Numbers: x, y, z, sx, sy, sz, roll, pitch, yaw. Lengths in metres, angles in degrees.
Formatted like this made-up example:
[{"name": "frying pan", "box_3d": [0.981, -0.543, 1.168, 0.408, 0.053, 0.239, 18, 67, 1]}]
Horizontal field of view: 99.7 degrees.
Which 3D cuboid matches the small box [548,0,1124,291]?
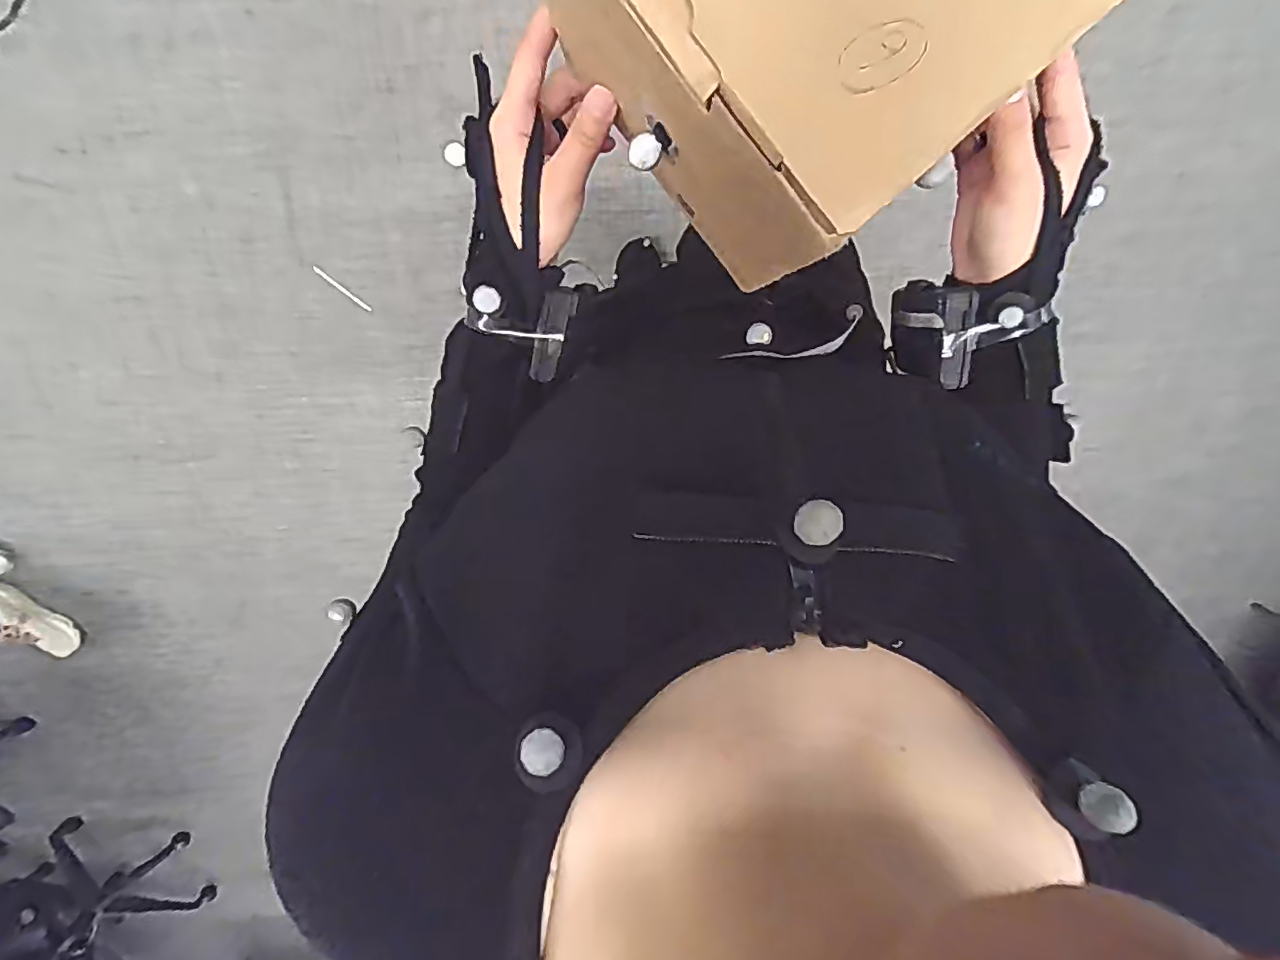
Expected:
[{"name": "small box", "box_3d": [0.072, -0.201, 0.223, 0.179, 0.176, 0.168, -40, 99, 11]}]
